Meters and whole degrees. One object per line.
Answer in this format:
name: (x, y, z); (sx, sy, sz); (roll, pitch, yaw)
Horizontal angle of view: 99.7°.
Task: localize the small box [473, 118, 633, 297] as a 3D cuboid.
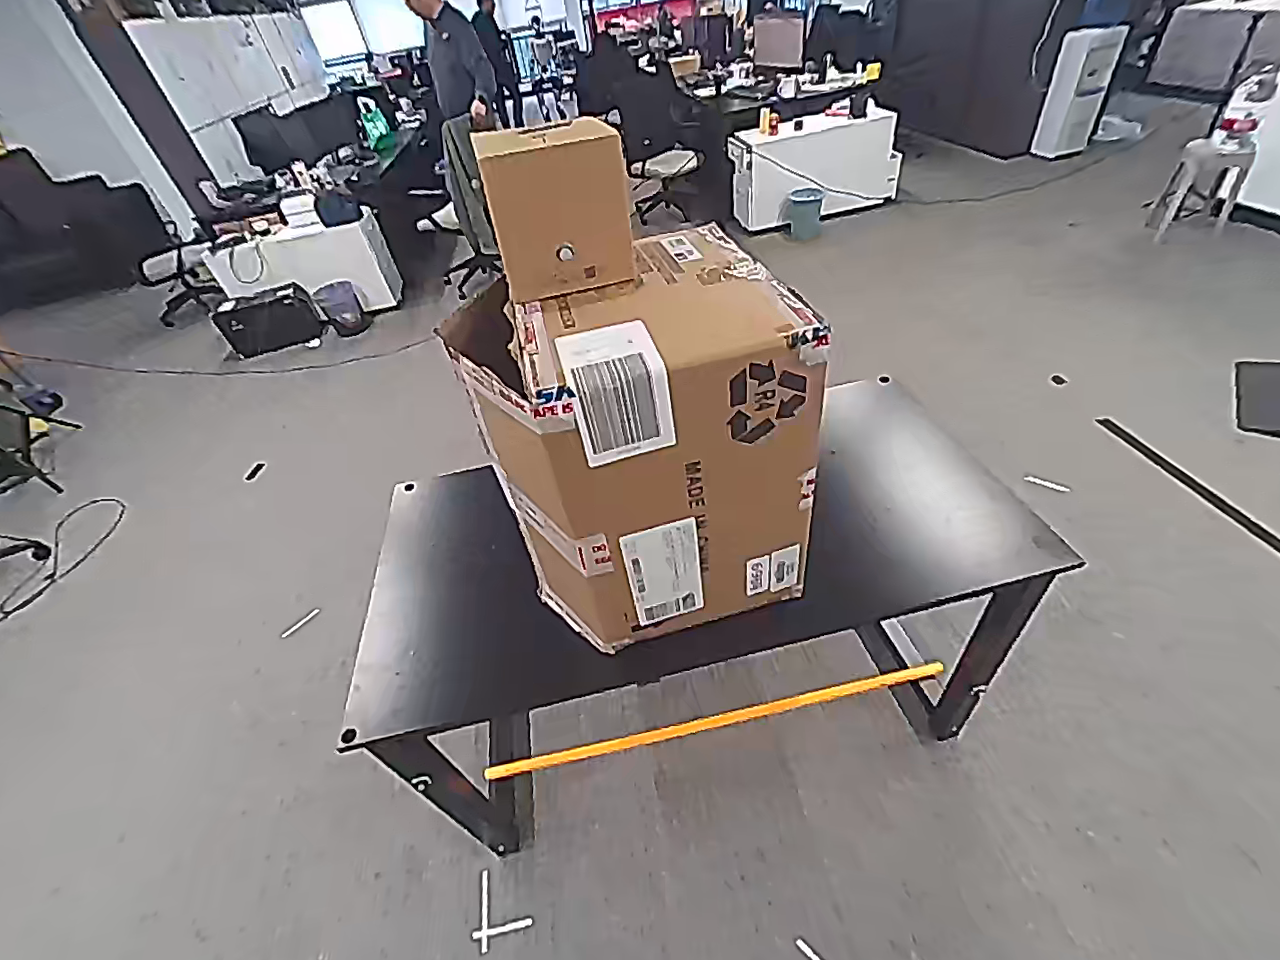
small box: (-0.114, -0.361, 0.715); (0.168, 0.176, 0.179); (-15, 41, -8)
